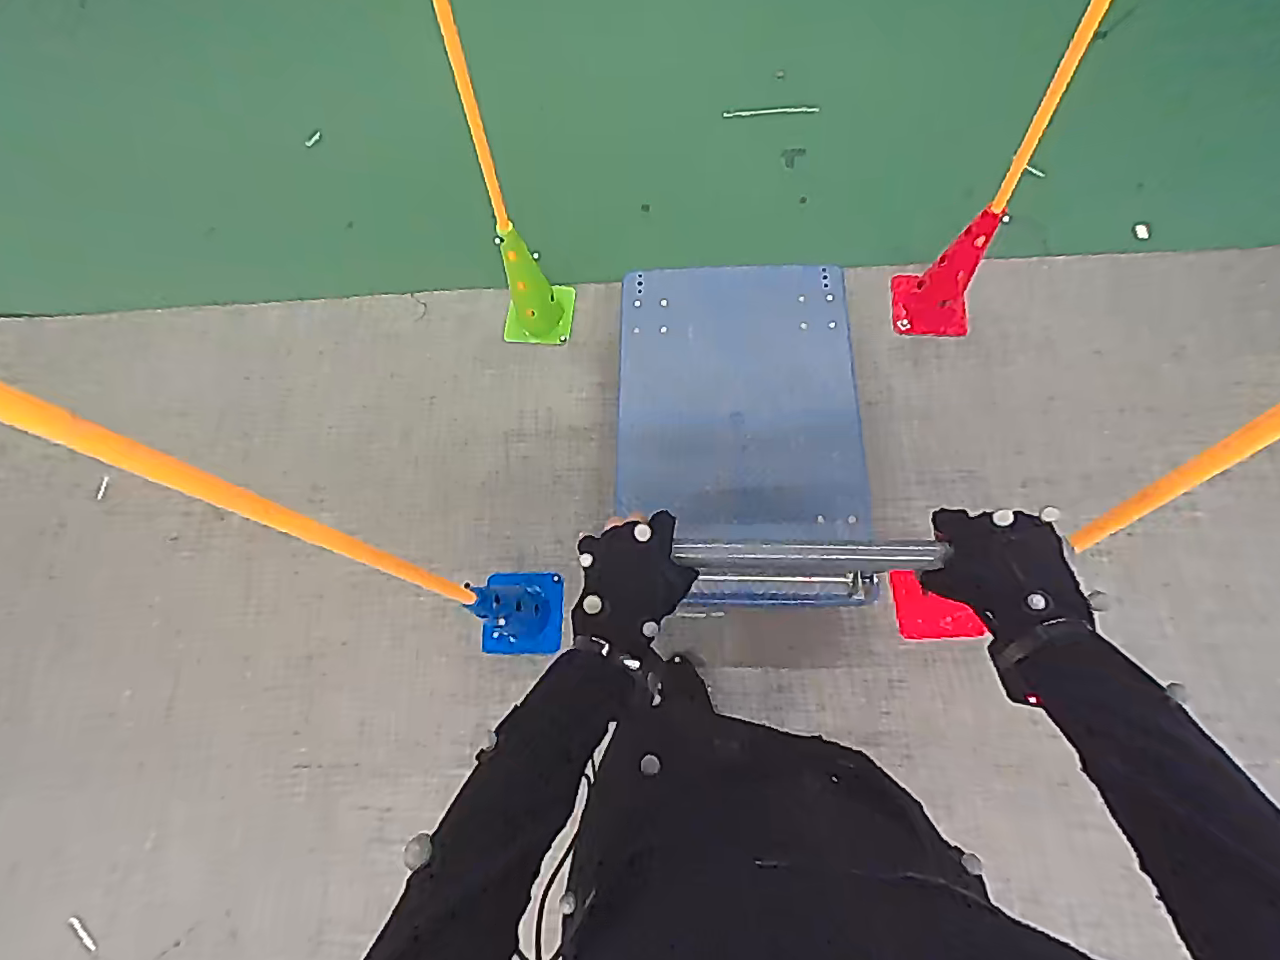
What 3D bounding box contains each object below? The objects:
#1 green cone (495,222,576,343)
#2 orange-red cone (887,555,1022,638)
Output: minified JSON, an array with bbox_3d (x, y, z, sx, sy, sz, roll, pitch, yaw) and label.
[{"bbox_3d":[-0.313,-0.560,1.483,0.202,0.368,0.200,3,72,6],"label":"green cone"},{"bbox_3d":[0.694,0.226,1.152,0.199,0.360,0.198,-2,71,6],"label":"orange-red cone"}]
